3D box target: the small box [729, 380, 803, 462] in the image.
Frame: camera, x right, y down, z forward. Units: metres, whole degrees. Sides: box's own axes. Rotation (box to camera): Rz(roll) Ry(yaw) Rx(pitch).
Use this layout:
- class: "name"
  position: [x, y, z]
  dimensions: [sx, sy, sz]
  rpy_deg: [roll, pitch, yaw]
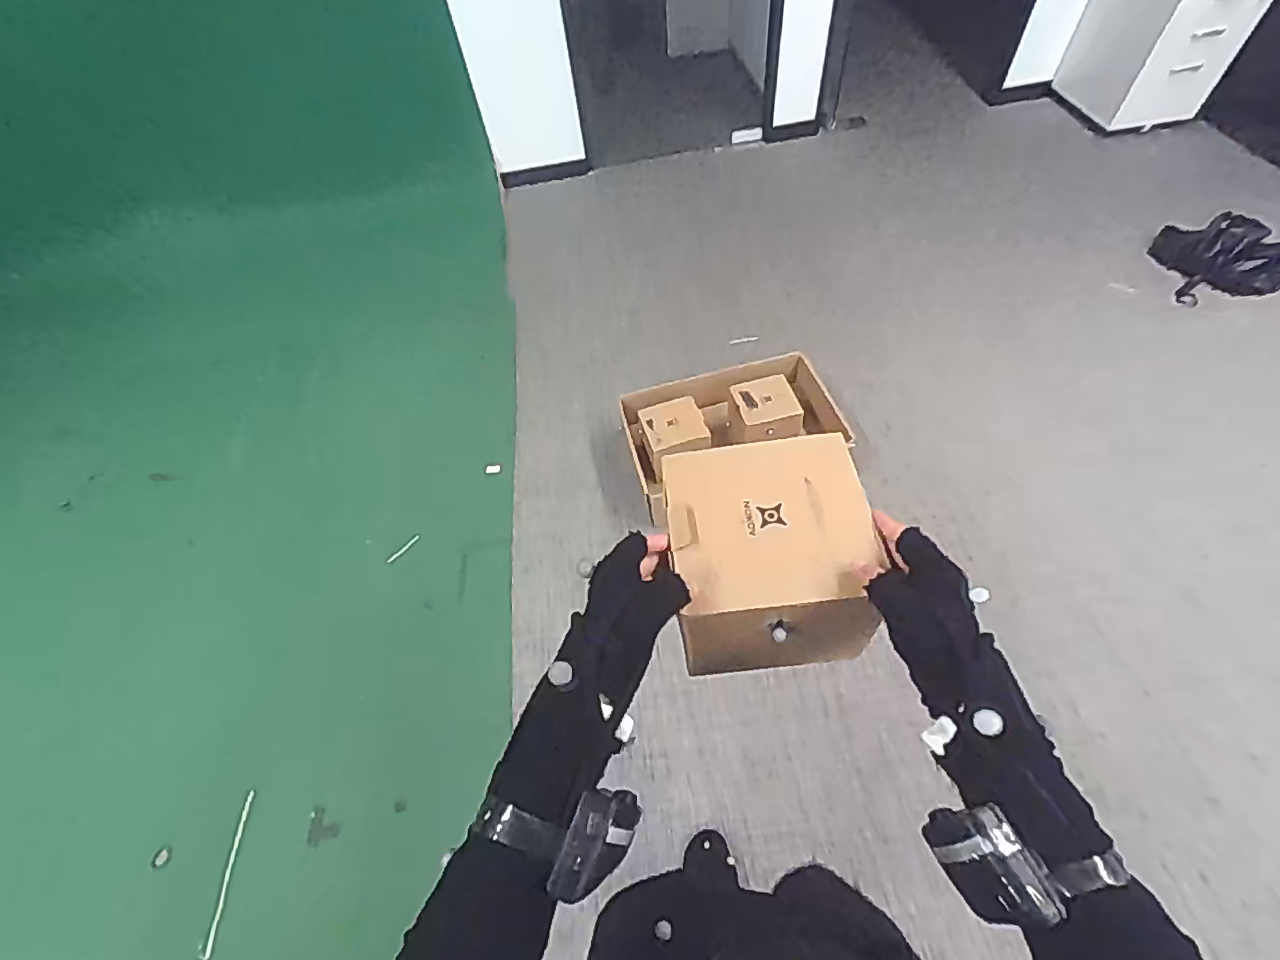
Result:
- class: "small box"
  position: [0.378, -0.176, 1.663]
  dimensions: [0.179, 0.176, 0.168]
  rpy_deg: [-13, 55, -3]

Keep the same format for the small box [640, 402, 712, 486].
- class: "small box"
  position: [0.105, -0.106, 1.645]
  dimensions: [0.179, 0.176, 0.168]
  rpy_deg: [-16, 55, -6]
